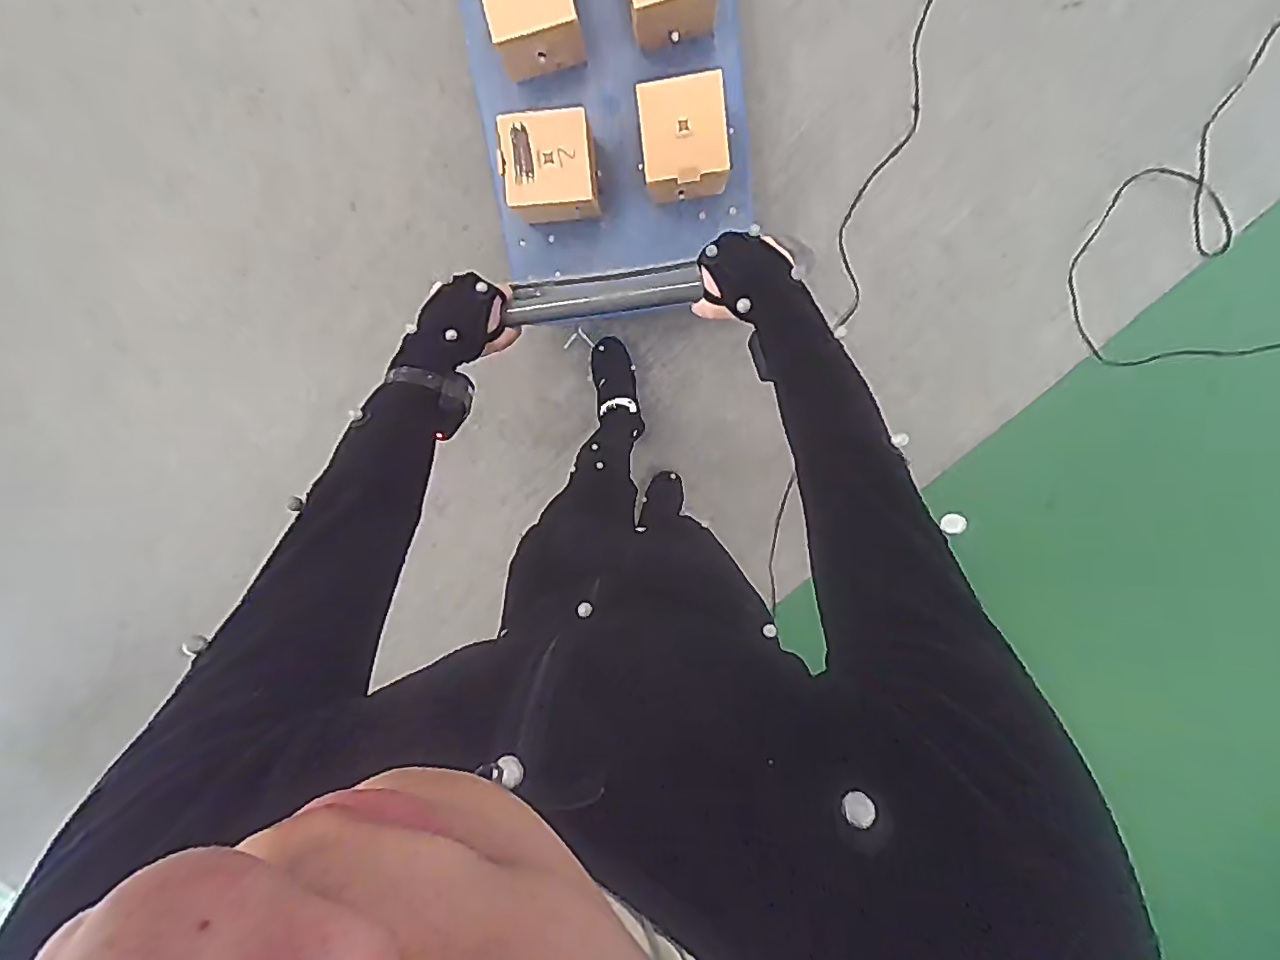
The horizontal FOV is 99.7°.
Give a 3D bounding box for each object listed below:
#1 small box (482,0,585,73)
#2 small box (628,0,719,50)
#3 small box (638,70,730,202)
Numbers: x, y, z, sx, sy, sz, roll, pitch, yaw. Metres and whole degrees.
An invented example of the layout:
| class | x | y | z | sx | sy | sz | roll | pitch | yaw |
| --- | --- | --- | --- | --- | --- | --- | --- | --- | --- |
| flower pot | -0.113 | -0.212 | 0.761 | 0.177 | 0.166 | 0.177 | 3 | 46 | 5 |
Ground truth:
| class | x | y | z | sx | sy | sz | roll | pitch | yaw |
| --- | --- | --- | --- | --- | --- | --- | --- | --- | --- |
| small box | -0.213 | -0.937 | 1.058 | 0.168 | 0.176 | 0.179 | -12 | 105 | 5 |
| small box | 0.054 | -0.982 | 1.036 | 0.168 | 0.176 | 0.179 | -11 | 105 | 6 |
| small box | 0.087 | -0.696 | 1.114 | 0.168 | 0.176 | 0.179 | -7 | 105 | 4 |
